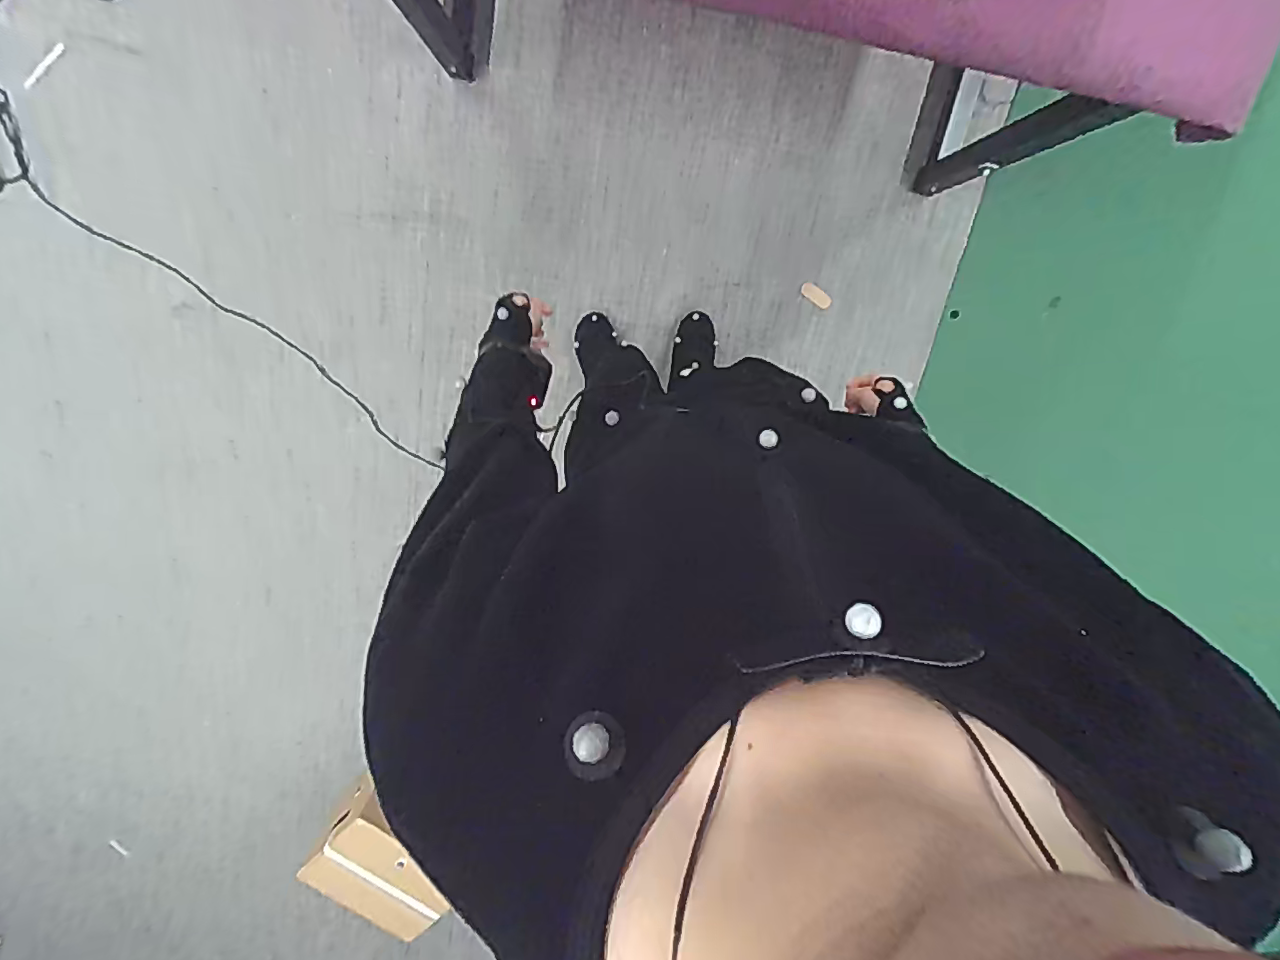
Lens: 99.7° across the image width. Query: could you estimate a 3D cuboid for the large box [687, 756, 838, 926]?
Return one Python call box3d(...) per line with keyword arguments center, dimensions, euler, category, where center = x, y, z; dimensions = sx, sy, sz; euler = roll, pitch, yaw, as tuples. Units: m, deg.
box3d(center=(0.371, 1.127, 1.712), dimensions=(0.408, 0.320, 0.320), euler=(-4, 107, 0), category="large box")
